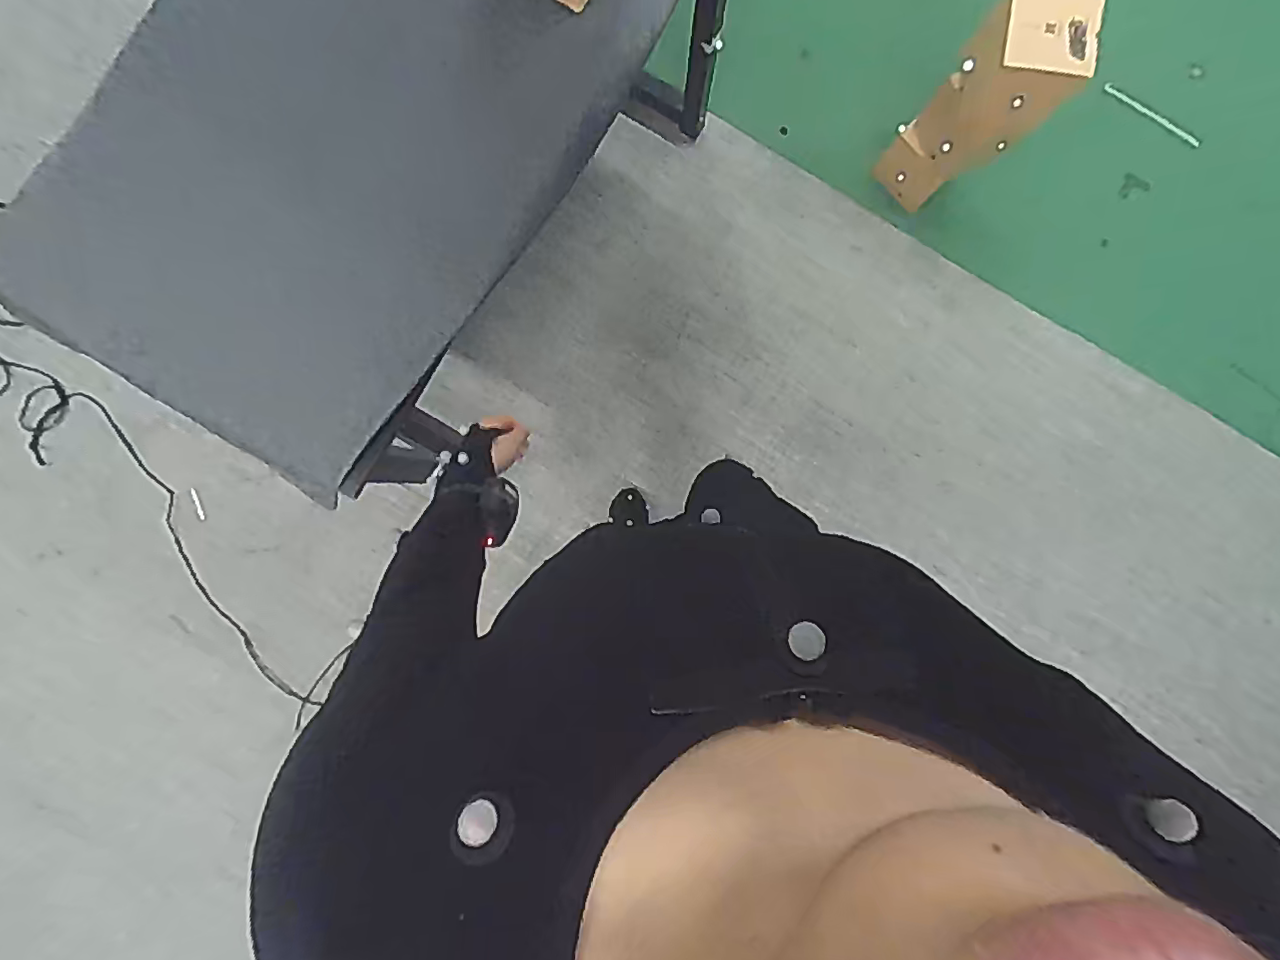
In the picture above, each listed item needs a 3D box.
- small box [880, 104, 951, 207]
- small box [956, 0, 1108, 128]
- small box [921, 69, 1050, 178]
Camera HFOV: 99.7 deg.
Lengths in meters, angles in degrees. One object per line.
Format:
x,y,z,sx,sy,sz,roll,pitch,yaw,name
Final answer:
0.767,-0.866,1.425,0.179,0.176,0.168,-43,90,-1,small box
0.785,-0.853,1.098,0.179,0.176,0.168,8,91,0,small box
0.792,-0.847,1.262,0.179,0.176,0.168,-22,91,-1,small box
